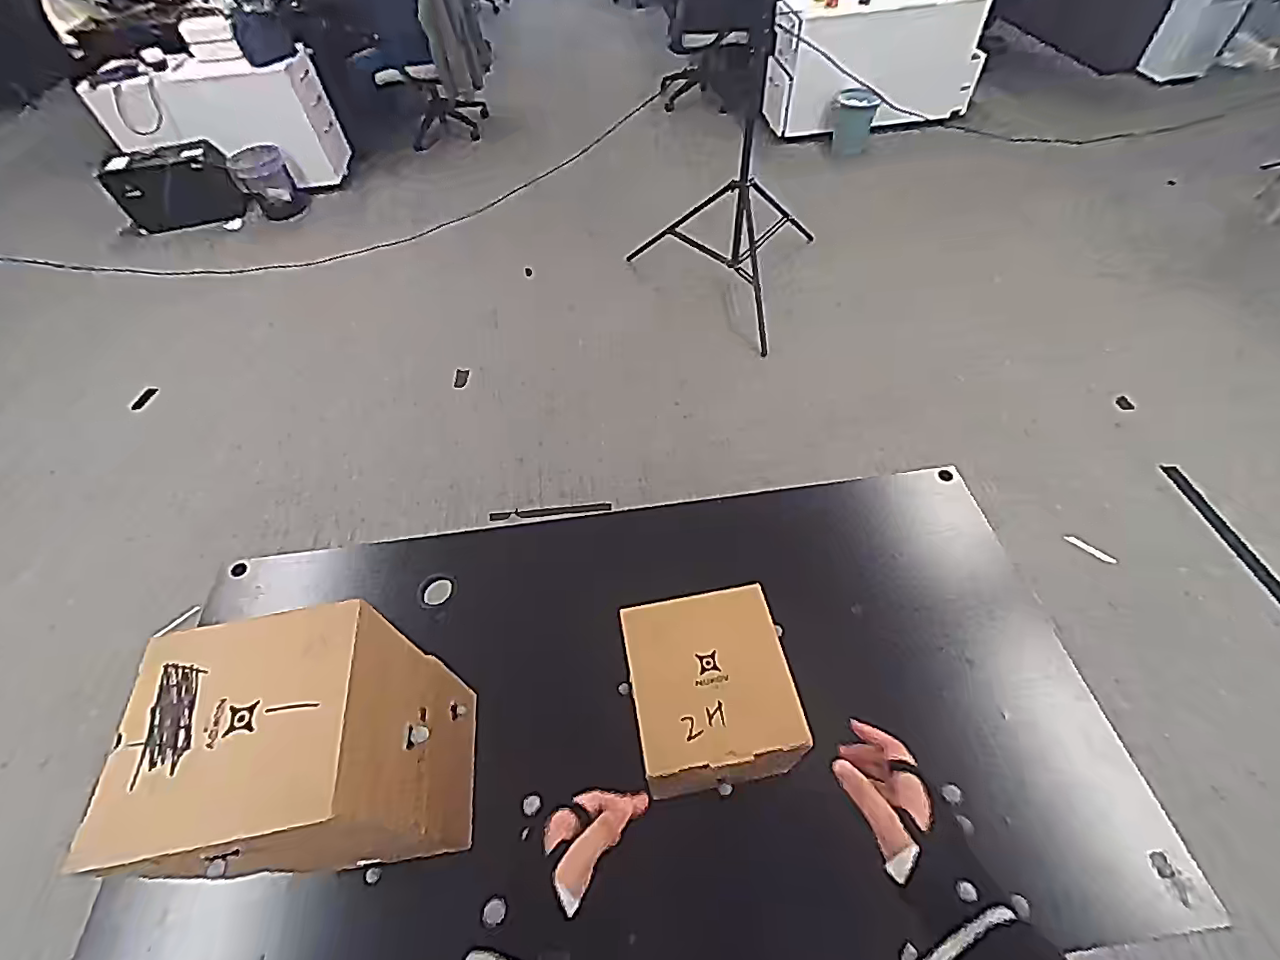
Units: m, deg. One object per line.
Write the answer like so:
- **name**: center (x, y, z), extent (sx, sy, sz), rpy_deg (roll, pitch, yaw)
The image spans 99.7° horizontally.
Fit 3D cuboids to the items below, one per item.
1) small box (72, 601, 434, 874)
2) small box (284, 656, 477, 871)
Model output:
- **small box**: center (-0.302, 0.230, 0.474), extent (0.179, 0.176, 0.168), rpy_deg (-10, 53, -4)
- **small box**: center (-0.291, 0.323, 0.610), extent (0.168, 0.176, 0.179), rpy_deg (-10, 54, -2)
